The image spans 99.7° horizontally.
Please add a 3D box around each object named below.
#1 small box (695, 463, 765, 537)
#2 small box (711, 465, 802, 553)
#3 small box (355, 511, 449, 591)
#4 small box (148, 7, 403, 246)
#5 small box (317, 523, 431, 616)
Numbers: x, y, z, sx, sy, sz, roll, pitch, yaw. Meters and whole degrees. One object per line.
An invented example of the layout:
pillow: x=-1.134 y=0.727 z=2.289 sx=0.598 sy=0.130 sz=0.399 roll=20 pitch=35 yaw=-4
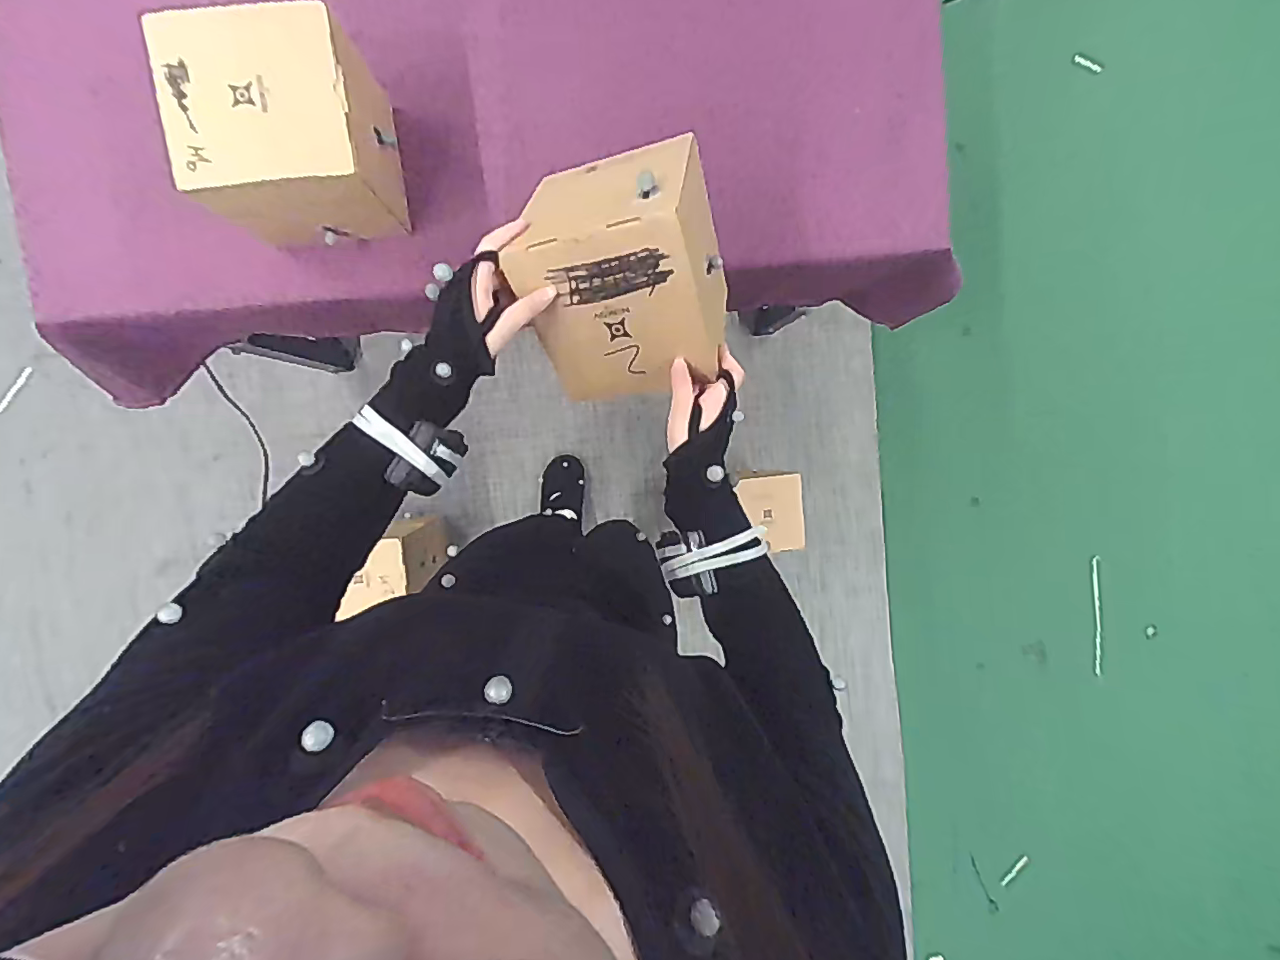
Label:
small box: x=0.247 y=0.049 z=1.445 sx=0.179 sy=0.176 sz=0.168 roll=-8 pitch=96 yaw=-5
small box: x=0.272 y=0.062 z=1.285 sx=0.168 sy=0.176 sz=0.179 roll=-6 pitch=95 yaw=-6
small box: x=-0.598 y=0.182 z=1.378 sx=0.168 sy=0.176 sz=0.179 roll=-5 pitch=95 yaw=-5
small box: x=-0.384 y=-0.381 z=0.611 sx=0.179 sy=0.176 sz=0.168 roll=-8 pitch=95 yaw=-6
small box: x=-0.587 y=0.194 z=1.214 sx=0.179 sy=0.176 sz=0.168 roll=-4 pitch=96 yaw=-6
